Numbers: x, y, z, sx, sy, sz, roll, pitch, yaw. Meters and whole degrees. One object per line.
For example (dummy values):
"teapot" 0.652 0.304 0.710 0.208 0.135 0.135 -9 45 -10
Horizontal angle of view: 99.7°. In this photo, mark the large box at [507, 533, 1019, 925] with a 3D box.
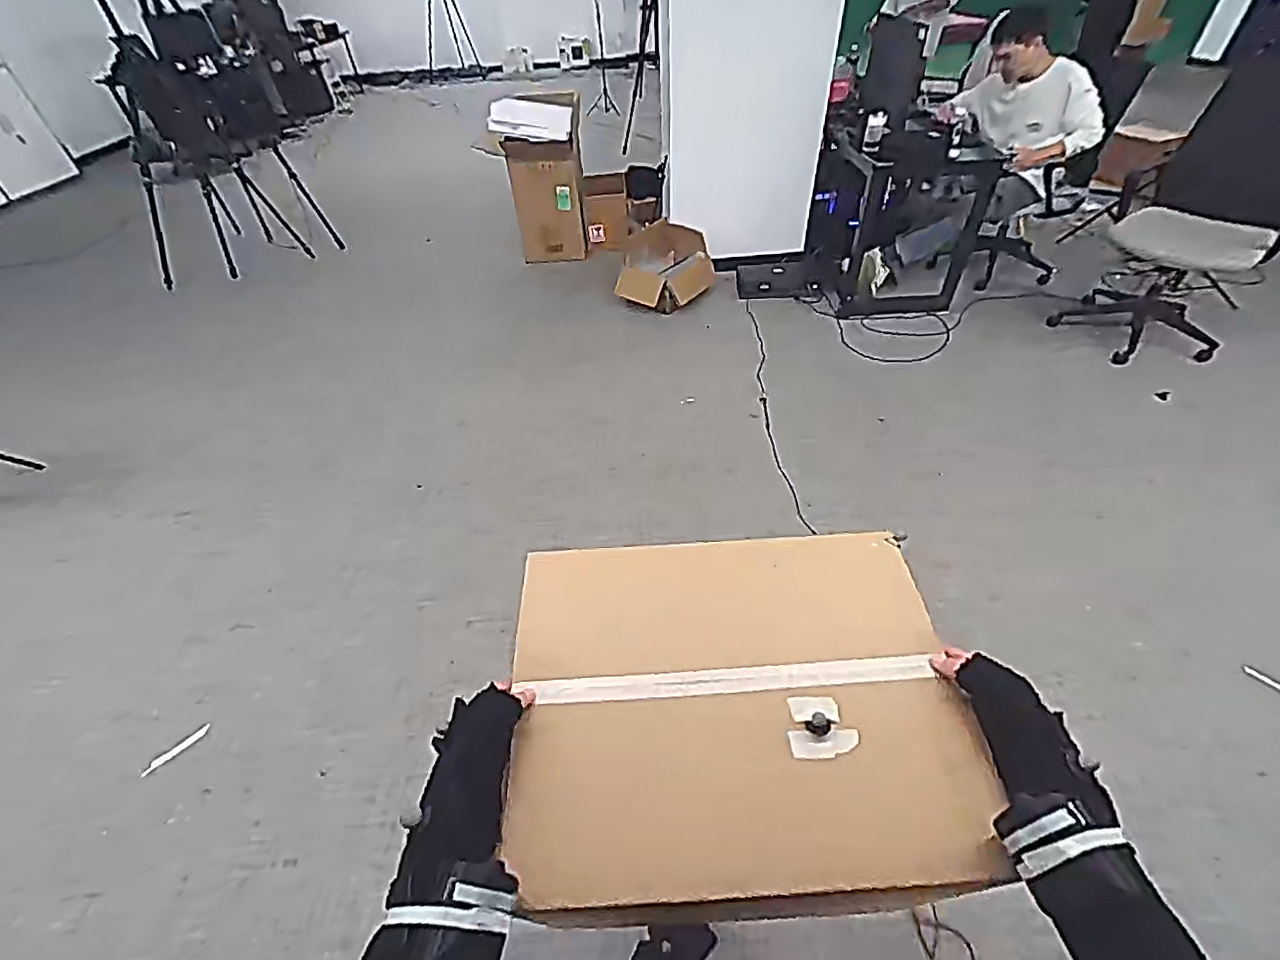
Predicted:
"large box" 0.090 0.285 0.618 0.408 0.320 0.320 -3 48 -1
